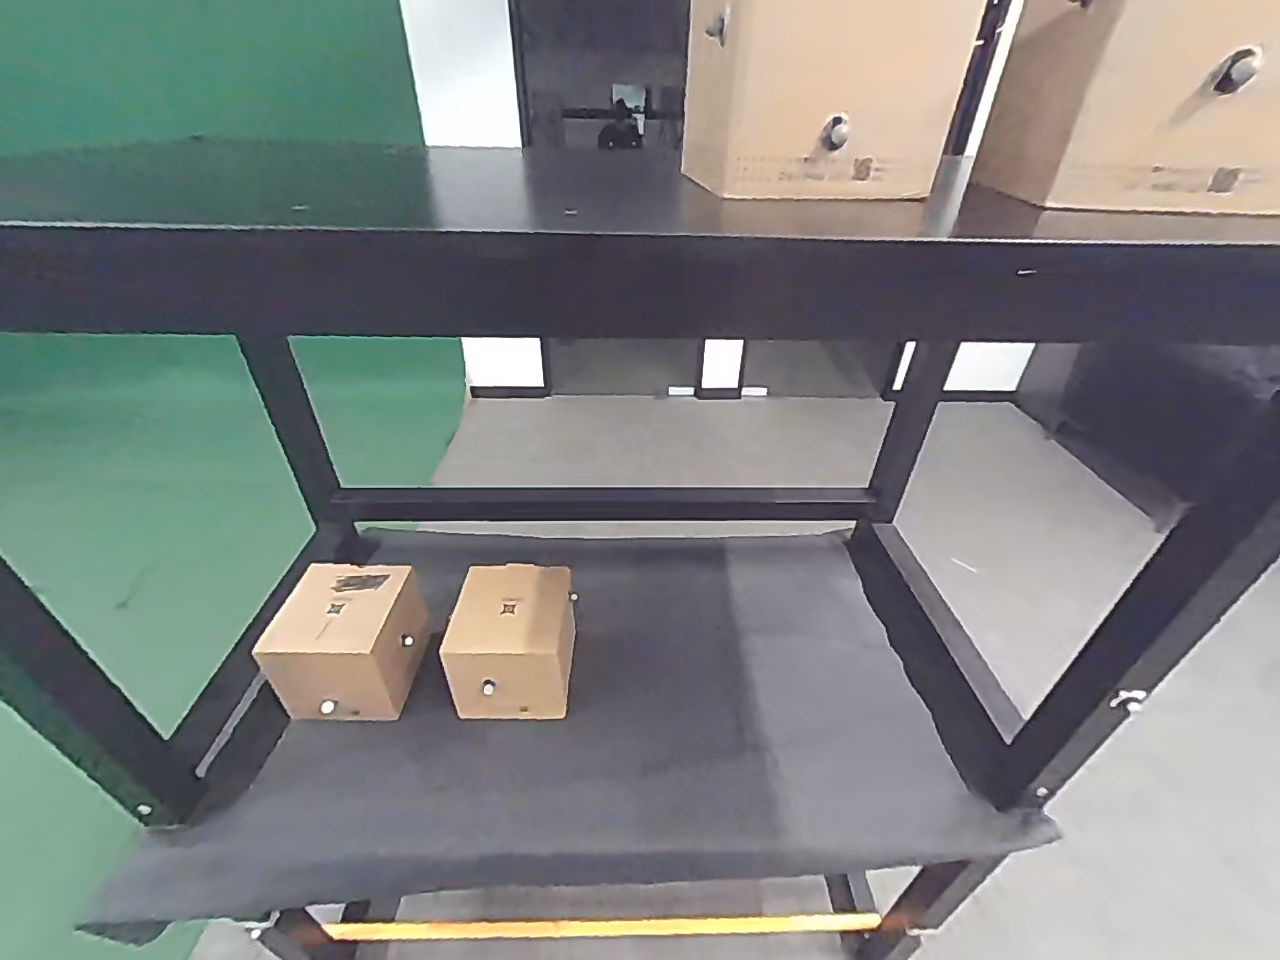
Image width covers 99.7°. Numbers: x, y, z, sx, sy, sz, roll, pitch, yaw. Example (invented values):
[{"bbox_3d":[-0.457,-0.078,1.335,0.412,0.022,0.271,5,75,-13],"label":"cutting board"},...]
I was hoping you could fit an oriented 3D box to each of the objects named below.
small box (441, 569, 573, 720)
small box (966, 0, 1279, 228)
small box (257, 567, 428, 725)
[{"bbox_3d":[-0.200,0.264,0.869,0.168,0.176,0.179,1,34,-1],"label":"small box"},{"bbox_3d":[0.382,-0.295,0.406,0.168,0.176,0.179,7,35,7],"label":"small box"},{"bbox_3d":[-0.452,0.260,0.860,0.168,0.176,0.179,1,35,-1],"label":"small box"}]
